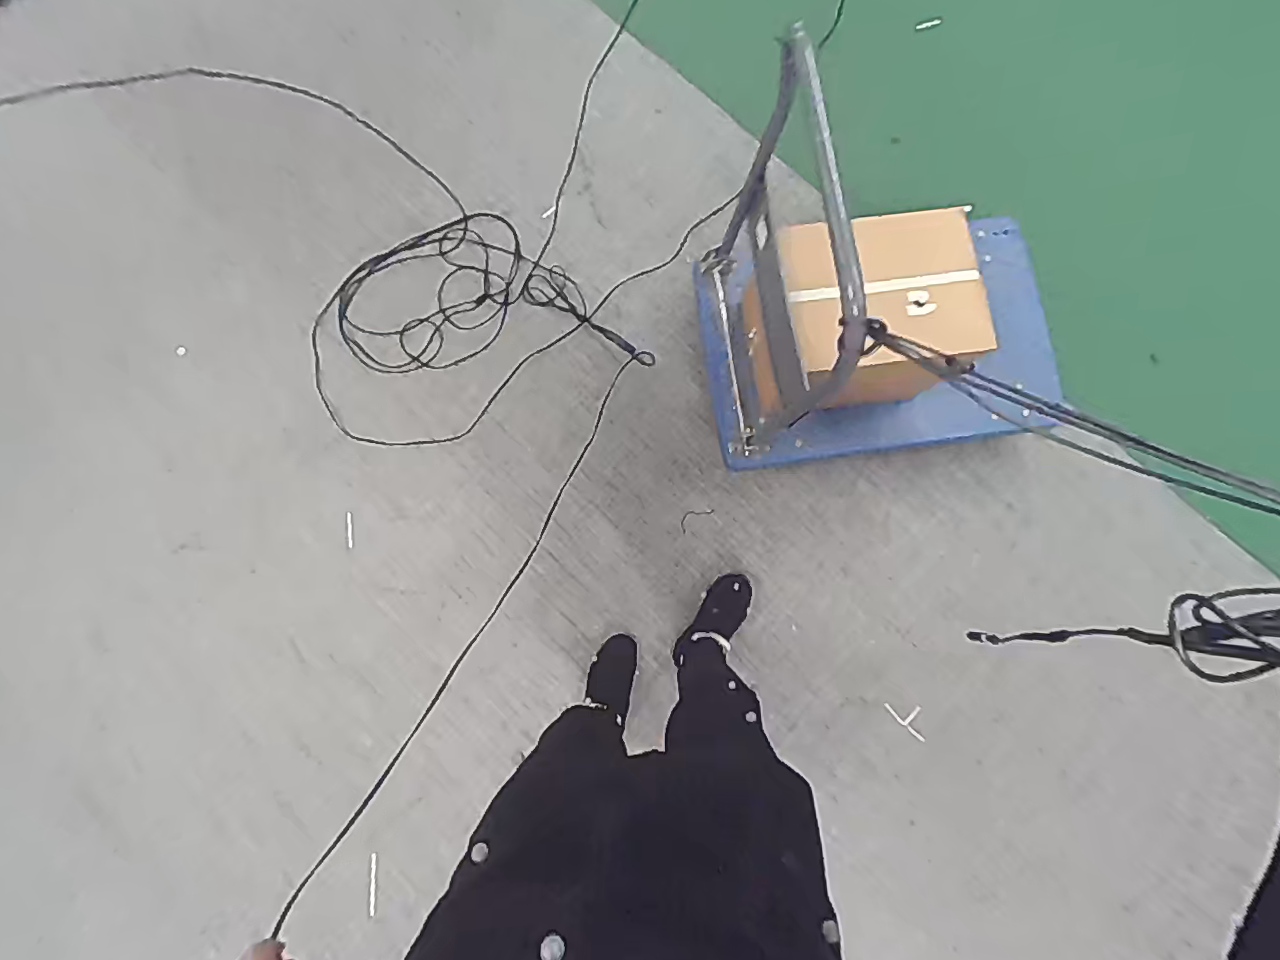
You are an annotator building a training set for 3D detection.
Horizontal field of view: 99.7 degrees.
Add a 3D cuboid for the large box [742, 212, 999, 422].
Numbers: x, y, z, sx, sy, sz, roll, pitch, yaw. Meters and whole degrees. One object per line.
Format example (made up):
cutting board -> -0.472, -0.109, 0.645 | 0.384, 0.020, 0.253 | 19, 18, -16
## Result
large box -> 0.478, -0.342, 1.212 | 0.408, 0.320, 0.320 | -8, 82, -3
